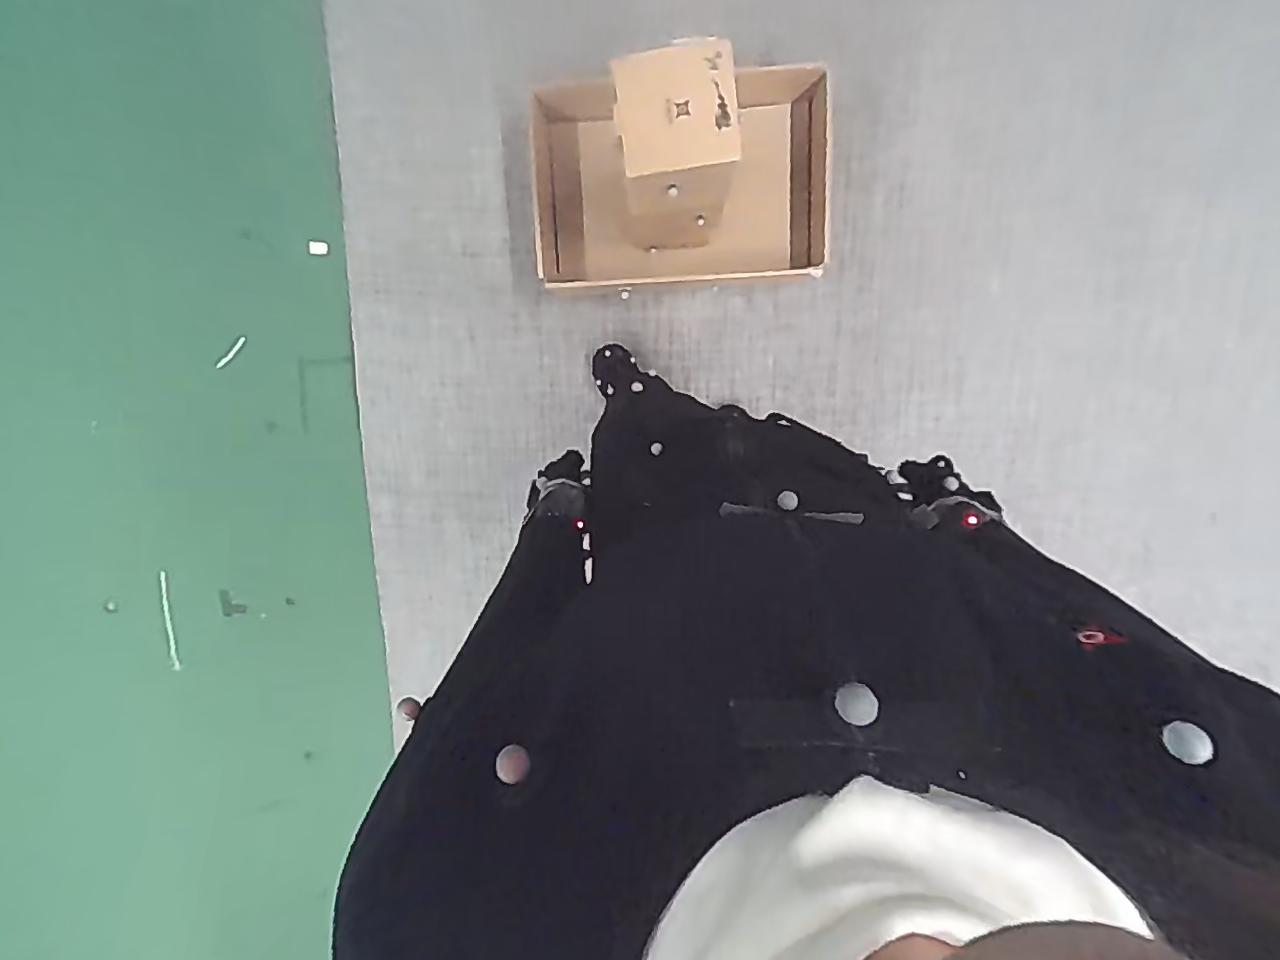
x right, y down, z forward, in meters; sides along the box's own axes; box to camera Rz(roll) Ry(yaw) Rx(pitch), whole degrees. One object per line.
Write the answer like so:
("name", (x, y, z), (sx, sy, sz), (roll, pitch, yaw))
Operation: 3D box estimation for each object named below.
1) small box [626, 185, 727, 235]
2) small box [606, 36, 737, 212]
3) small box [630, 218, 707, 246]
("small box", (0.059, -0.578, 1.015), (0.179, 0.176, 0.168), (-8, 99, 4))
("small box", (0.052, -0.556, 0.872), (0.179, 0.176, 0.168), (-9, 96, 4))
("small box", (0.064, -0.624, 1.188), (0.168, 0.176, 0.179), (-2, 99, 4))
